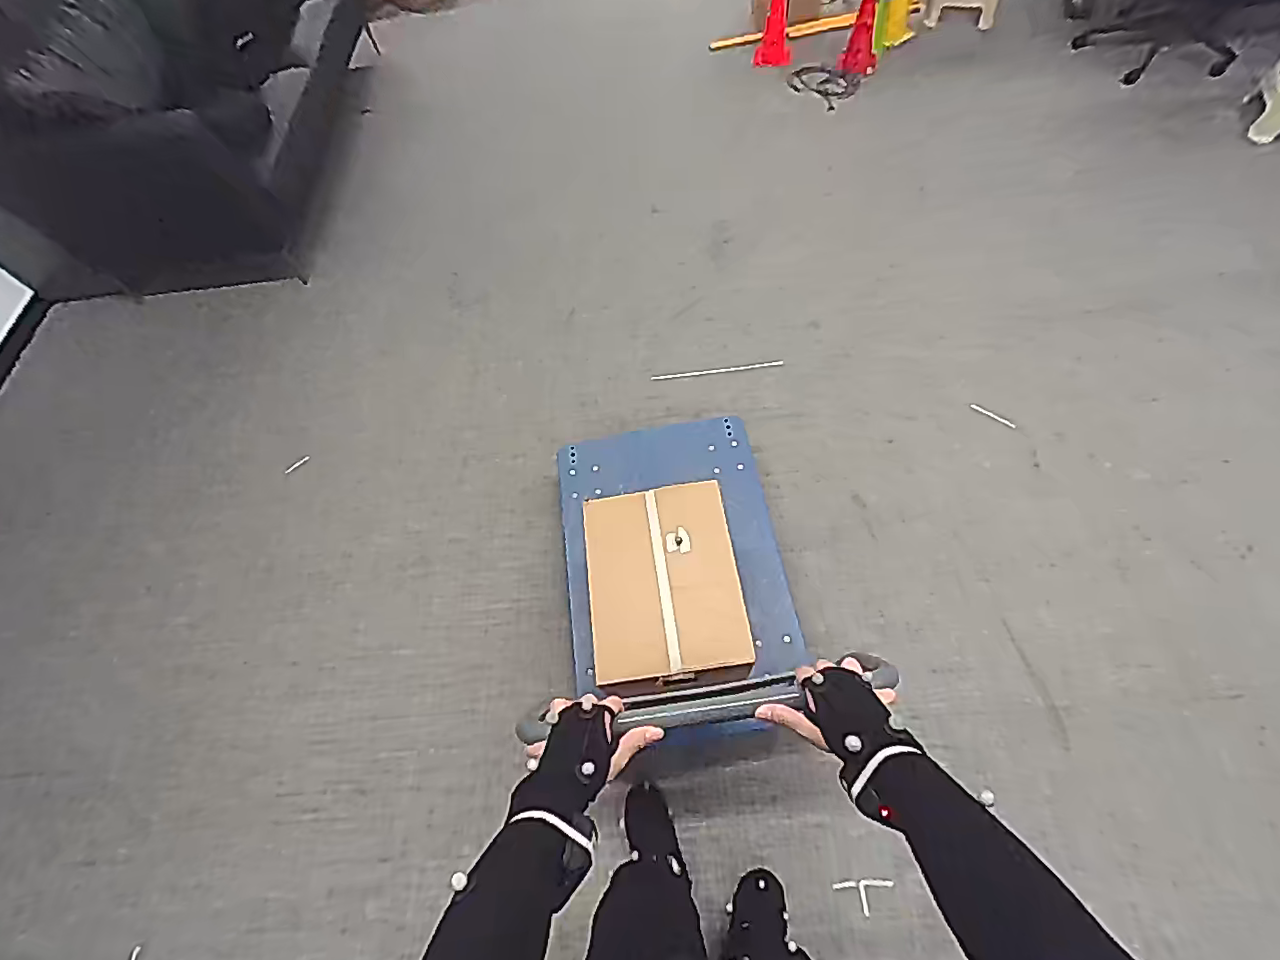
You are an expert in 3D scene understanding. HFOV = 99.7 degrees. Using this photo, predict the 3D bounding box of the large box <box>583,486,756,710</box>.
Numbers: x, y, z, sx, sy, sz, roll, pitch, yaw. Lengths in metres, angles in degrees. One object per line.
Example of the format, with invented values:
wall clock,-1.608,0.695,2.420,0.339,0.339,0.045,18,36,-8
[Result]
large box,0.064,0.282,1.263,0.320,0.320,0.408,-9,59,1
